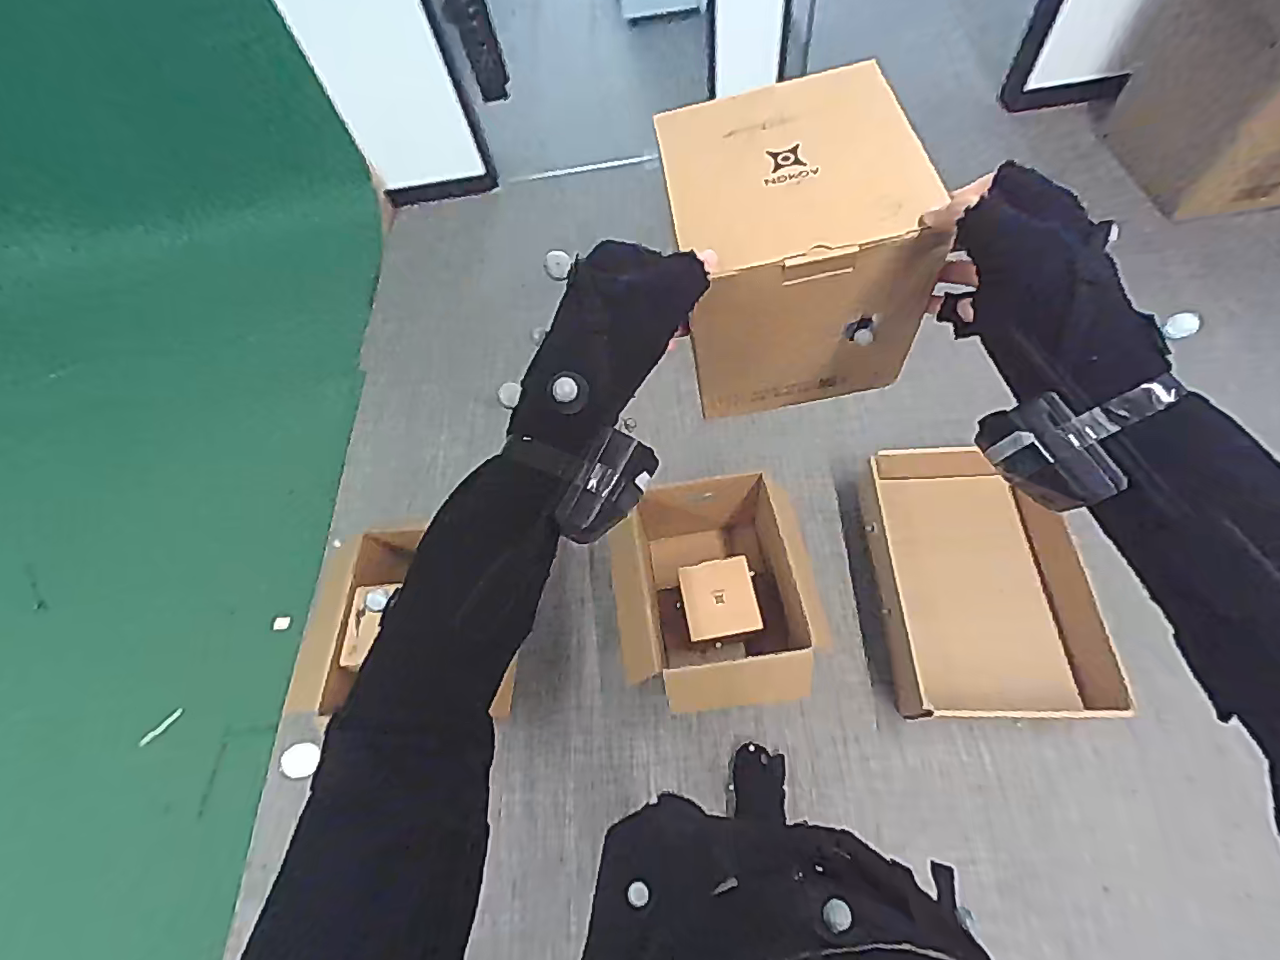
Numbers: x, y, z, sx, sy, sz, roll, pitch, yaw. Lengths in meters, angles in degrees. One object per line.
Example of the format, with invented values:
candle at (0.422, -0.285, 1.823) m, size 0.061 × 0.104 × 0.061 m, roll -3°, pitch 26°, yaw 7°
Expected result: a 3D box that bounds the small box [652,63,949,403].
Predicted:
small box at (0.112, -0.178, 0.436) m, size 0.168 × 0.176 × 0.179 m, roll -10°, pitch 63°, yaw 6°
